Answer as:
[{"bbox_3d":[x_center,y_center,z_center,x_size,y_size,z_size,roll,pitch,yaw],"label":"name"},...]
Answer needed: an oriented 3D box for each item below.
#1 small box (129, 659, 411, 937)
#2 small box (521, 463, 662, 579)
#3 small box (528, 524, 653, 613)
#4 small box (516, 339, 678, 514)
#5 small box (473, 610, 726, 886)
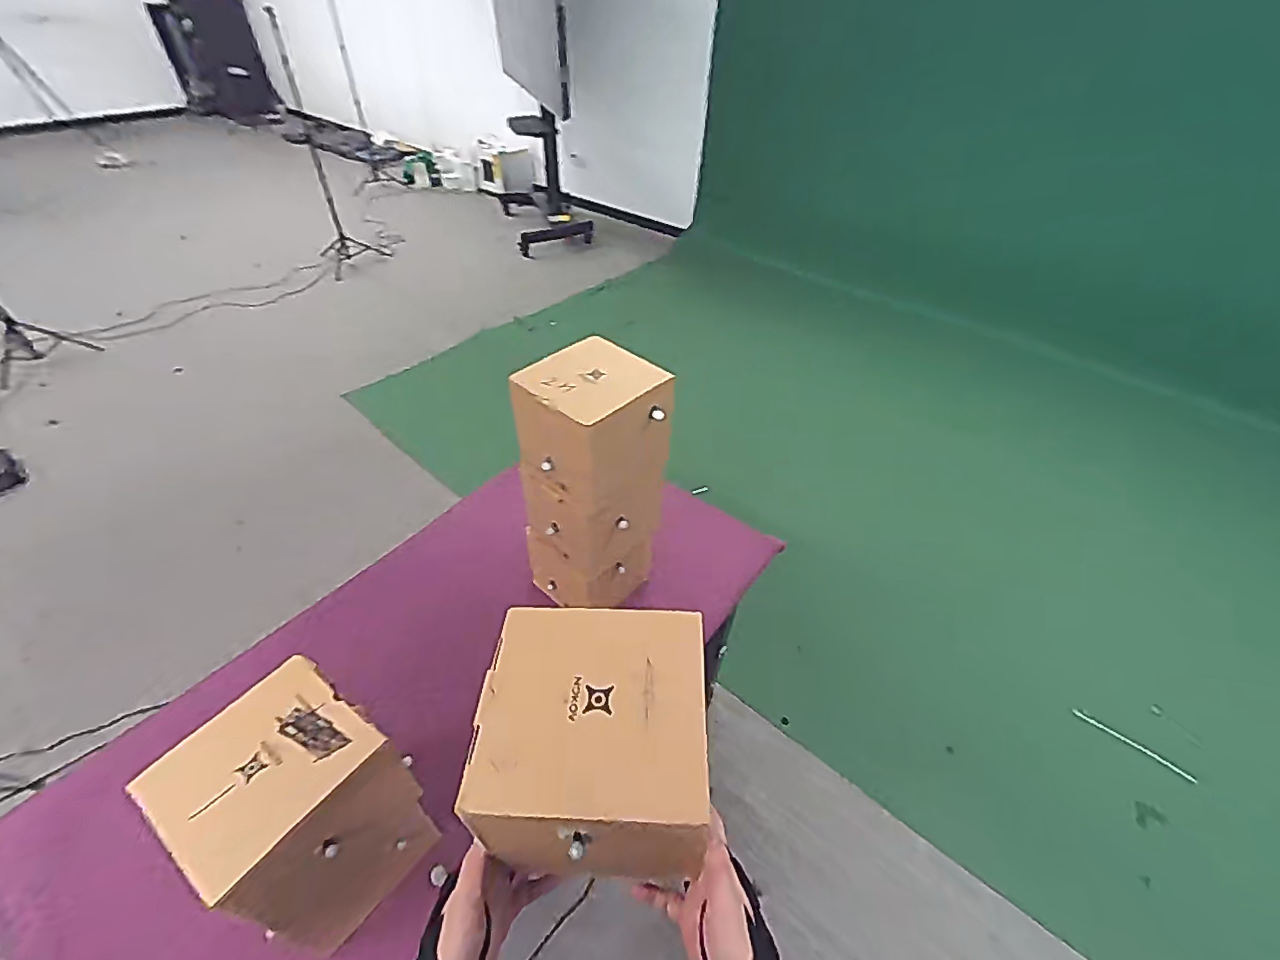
[{"bbox_3d":[-0.375,0.341,0.587,0.168,0.176,0.179,28,48,23],"label":"small box"},{"bbox_3d":[-0.079,0.038,0.936,0.168,0.176,0.179,34,53,27],"label":"small box"},{"bbox_3d":[-0.097,0.151,1.054,0.168,0.176,0.179,34,52,27],"label":"small box"},{"bbox_3d":[-0.065,-0.082,0.823,0.168,0.176,0.179,34,52,28],"label":"small box"},{"bbox_3d":[-0.021,0.233,0.472,0.179,0.176,0.168,2,43,3],"label":"small box"}]
